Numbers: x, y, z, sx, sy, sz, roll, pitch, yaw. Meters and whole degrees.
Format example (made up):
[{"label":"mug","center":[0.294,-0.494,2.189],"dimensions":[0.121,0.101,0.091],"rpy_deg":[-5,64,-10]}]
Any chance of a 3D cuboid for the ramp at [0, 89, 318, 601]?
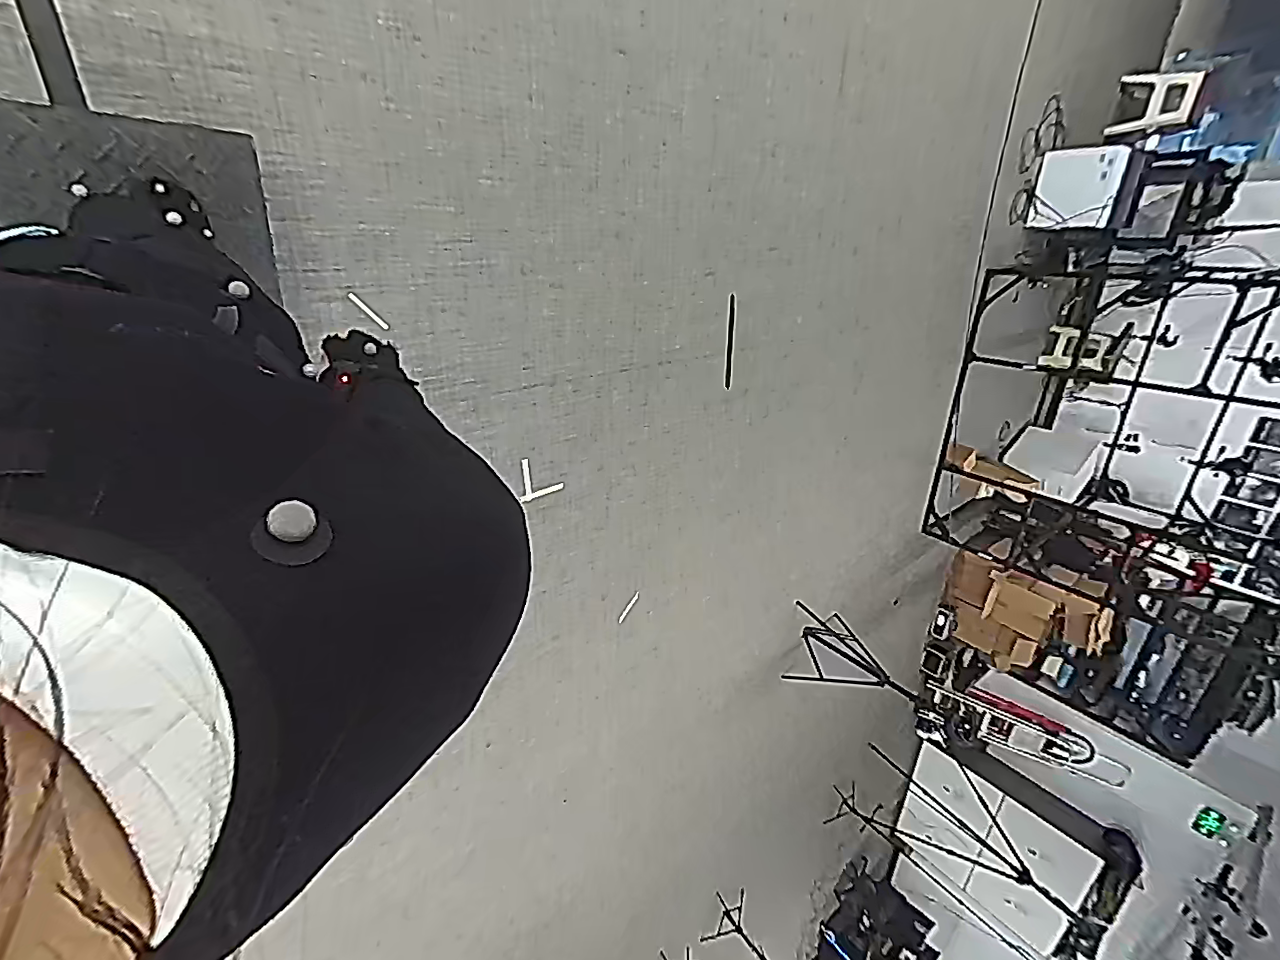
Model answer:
[{"label":"ramp","center":[-1.008,-0.195,1.120],"dimensions":[0.509,0.206,0.991],"rpy_deg":[-18,121,-36]}]
